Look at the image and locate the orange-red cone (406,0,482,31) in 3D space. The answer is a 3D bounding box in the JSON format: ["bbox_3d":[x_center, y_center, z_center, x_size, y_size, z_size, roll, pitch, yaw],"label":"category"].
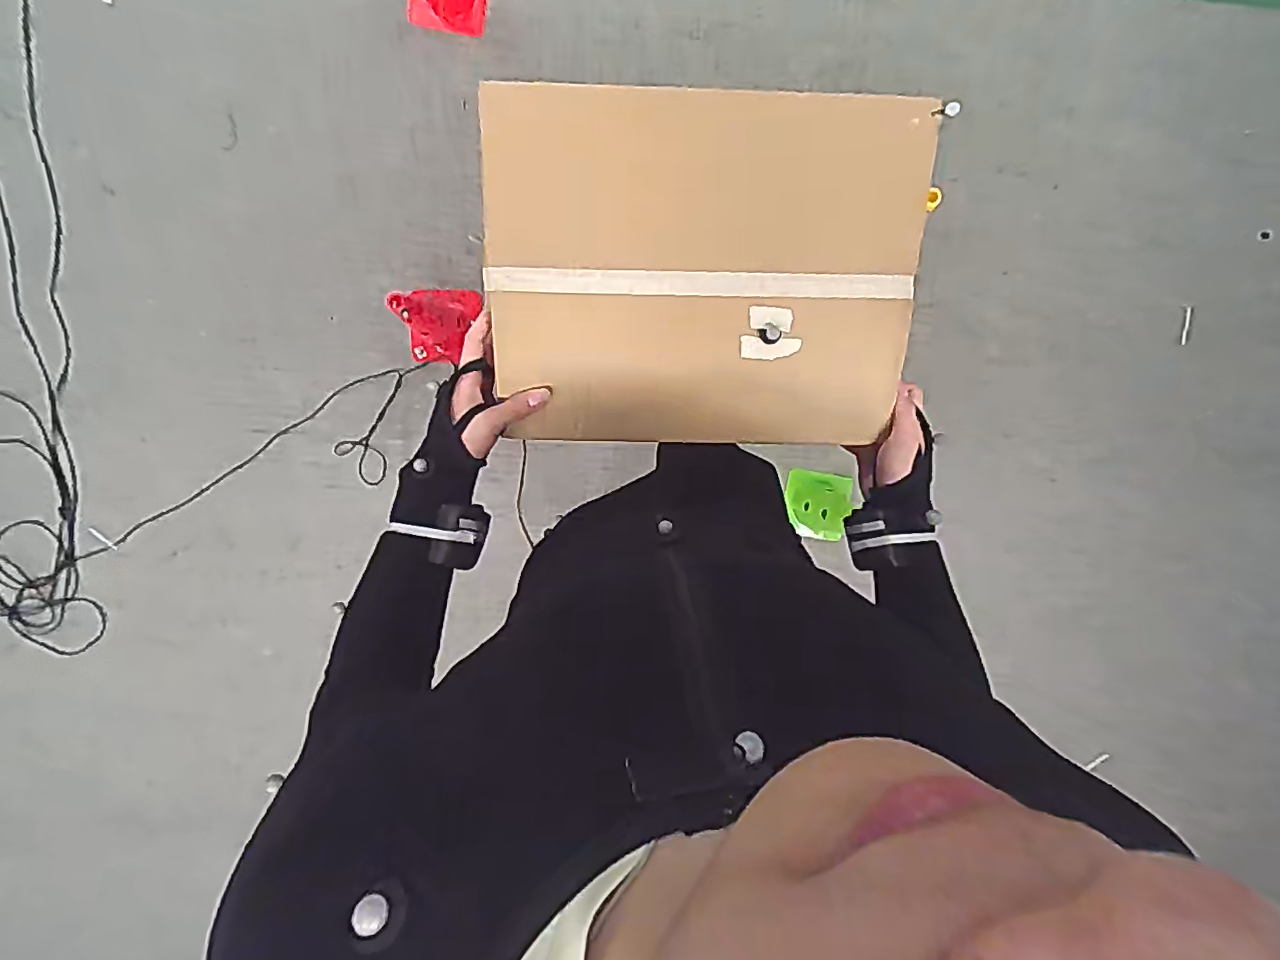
[{"bbox_3d":[-0.499,-1.270,1.240,0.199,0.360,0.198,10,96,-2],"label":"orange-red cone"}]

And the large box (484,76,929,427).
[{"bbox_3d":[0.054,-0.248,0.661,0.408,0.320,0.320,0,108,-2],"label":"large box"}]

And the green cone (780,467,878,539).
[{"bbox_3d":[0.540,0.088,1.456,0.200,0.368,0.202,9,96,-4],"label":"green cone"}]
